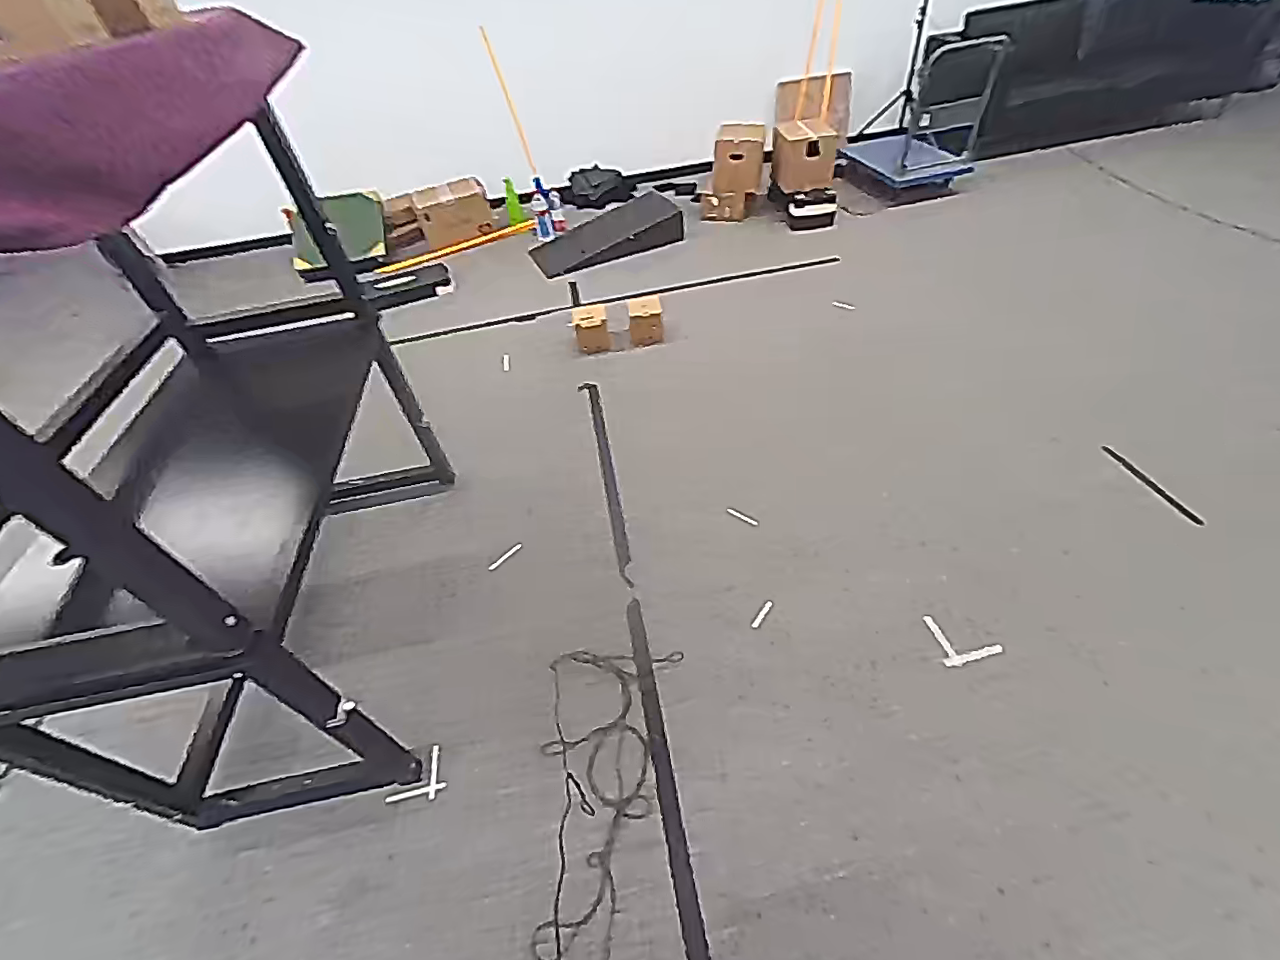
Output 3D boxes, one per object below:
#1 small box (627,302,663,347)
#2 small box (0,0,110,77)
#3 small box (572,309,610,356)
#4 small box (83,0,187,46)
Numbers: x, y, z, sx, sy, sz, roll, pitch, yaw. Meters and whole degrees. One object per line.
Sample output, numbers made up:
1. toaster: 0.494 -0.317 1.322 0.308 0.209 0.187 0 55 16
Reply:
1. small box: 0.025 -0.804 2.815 0.168 0.176 0.179 -7 45 0
2. small box: -0.970 -0.726 0.810 0.179 0.176 0.168 -17 45 -9
3. small box: -0.254 -0.759 2.805 0.168 0.176 0.179 -9 44 -2
4. small box: -1.025 -0.932 1.019 0.179 0.176 0.168 -13 46 -4
